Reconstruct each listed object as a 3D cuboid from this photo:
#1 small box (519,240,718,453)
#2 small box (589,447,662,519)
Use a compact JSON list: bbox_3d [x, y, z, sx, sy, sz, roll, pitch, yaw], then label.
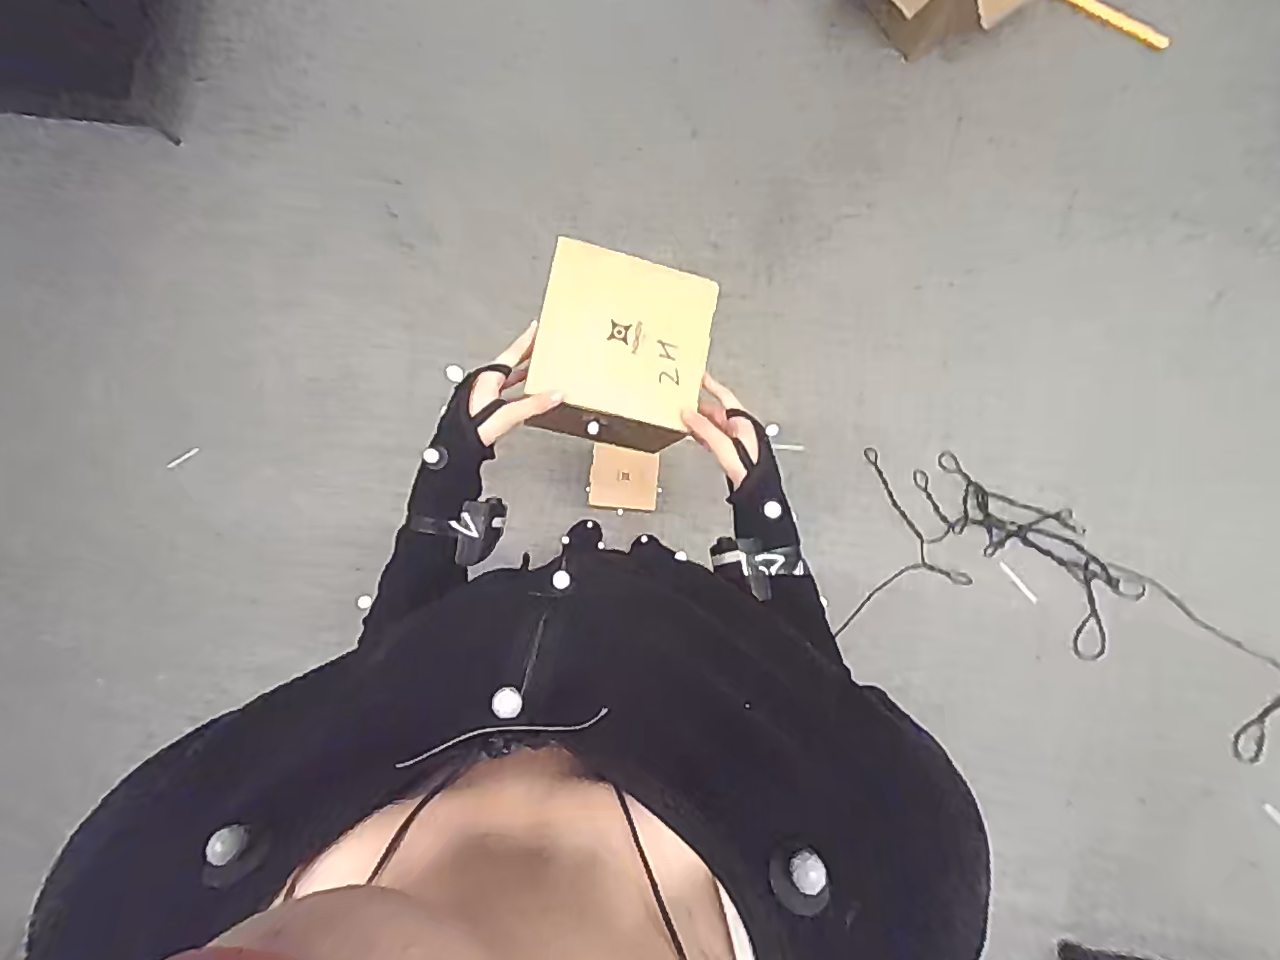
[{"bbox_3d":[-0.033,-0.134,0.617,0.179,0.176,0.168,13,83,-11],"label":"small box"},{"bbox_3d":[-0.035,0.014,1.460,0.179,0.176,0.168,6,84,2],"label":"small box"}]
